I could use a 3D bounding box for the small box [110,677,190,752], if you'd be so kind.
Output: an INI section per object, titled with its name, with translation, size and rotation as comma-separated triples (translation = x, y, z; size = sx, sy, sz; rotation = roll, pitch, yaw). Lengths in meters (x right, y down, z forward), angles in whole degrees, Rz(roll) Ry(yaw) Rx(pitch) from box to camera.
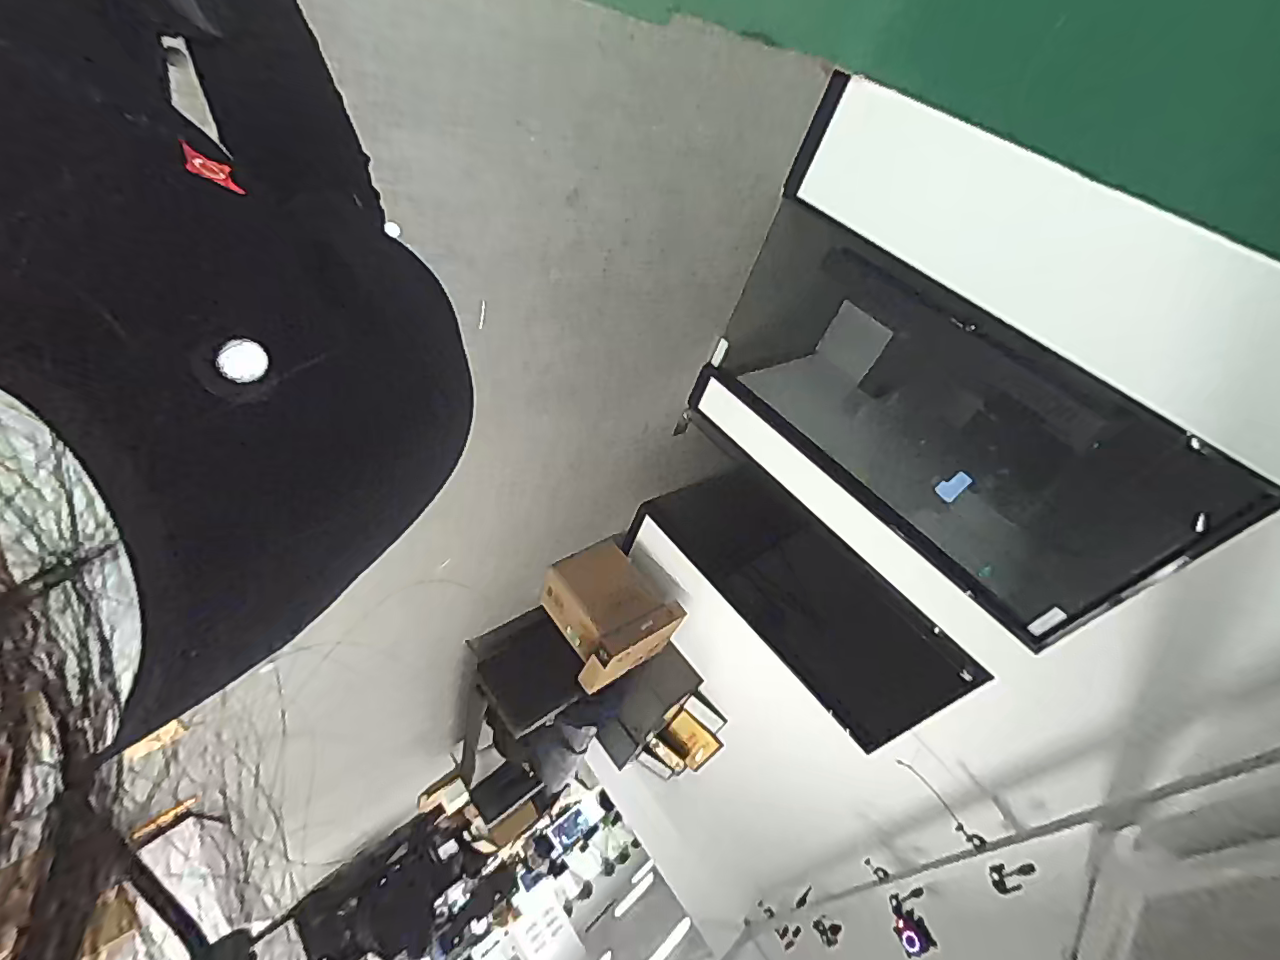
[small box]
translation = -1.826, 0.871, 2.017
size = 0.168, 0.176, 0.179
rotation = -24, 150, -38
